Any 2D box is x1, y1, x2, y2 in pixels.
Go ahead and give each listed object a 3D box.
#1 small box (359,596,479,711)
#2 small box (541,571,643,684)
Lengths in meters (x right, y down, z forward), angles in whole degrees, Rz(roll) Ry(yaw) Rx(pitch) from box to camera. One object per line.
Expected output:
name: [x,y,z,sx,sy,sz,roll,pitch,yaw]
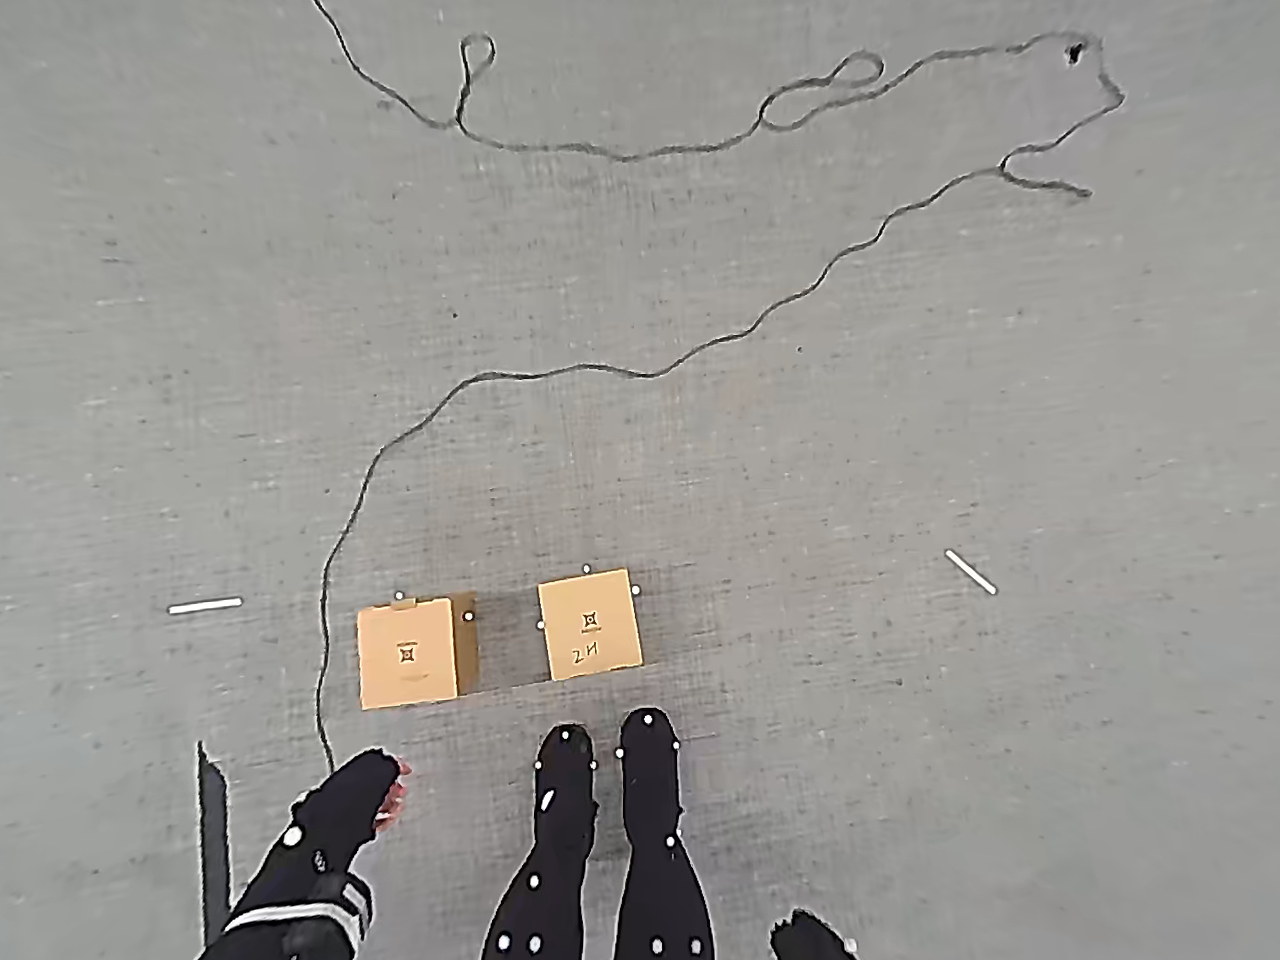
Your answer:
small box: [-0.410,0.317,1.024,0.168,0.176,0.179,-5,84,-3]
small box: [-0.092,0.274,1.046,0.168,0.176,0.179,-9,84,-4]
